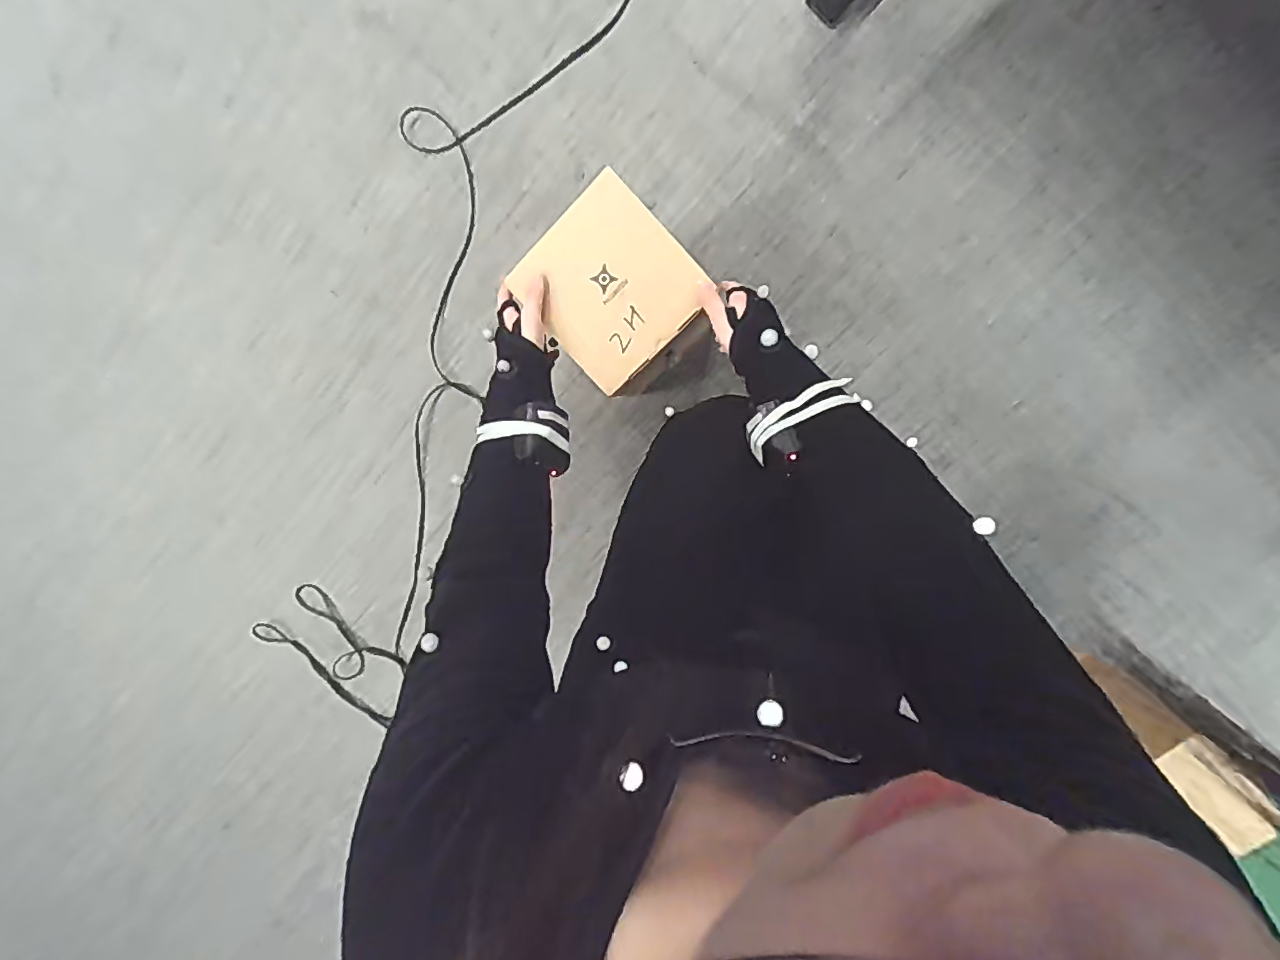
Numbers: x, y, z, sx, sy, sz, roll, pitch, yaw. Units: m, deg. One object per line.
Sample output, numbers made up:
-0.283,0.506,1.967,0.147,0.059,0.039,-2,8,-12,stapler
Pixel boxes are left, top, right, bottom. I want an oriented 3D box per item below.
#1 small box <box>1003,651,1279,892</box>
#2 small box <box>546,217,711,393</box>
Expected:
0.617,0.363,0.700,0.168,0.176,0.179,45,102,-5,small box
-0.008,-0.250,0.819,0.179,0.176,0.168,-43,93,11,small box
